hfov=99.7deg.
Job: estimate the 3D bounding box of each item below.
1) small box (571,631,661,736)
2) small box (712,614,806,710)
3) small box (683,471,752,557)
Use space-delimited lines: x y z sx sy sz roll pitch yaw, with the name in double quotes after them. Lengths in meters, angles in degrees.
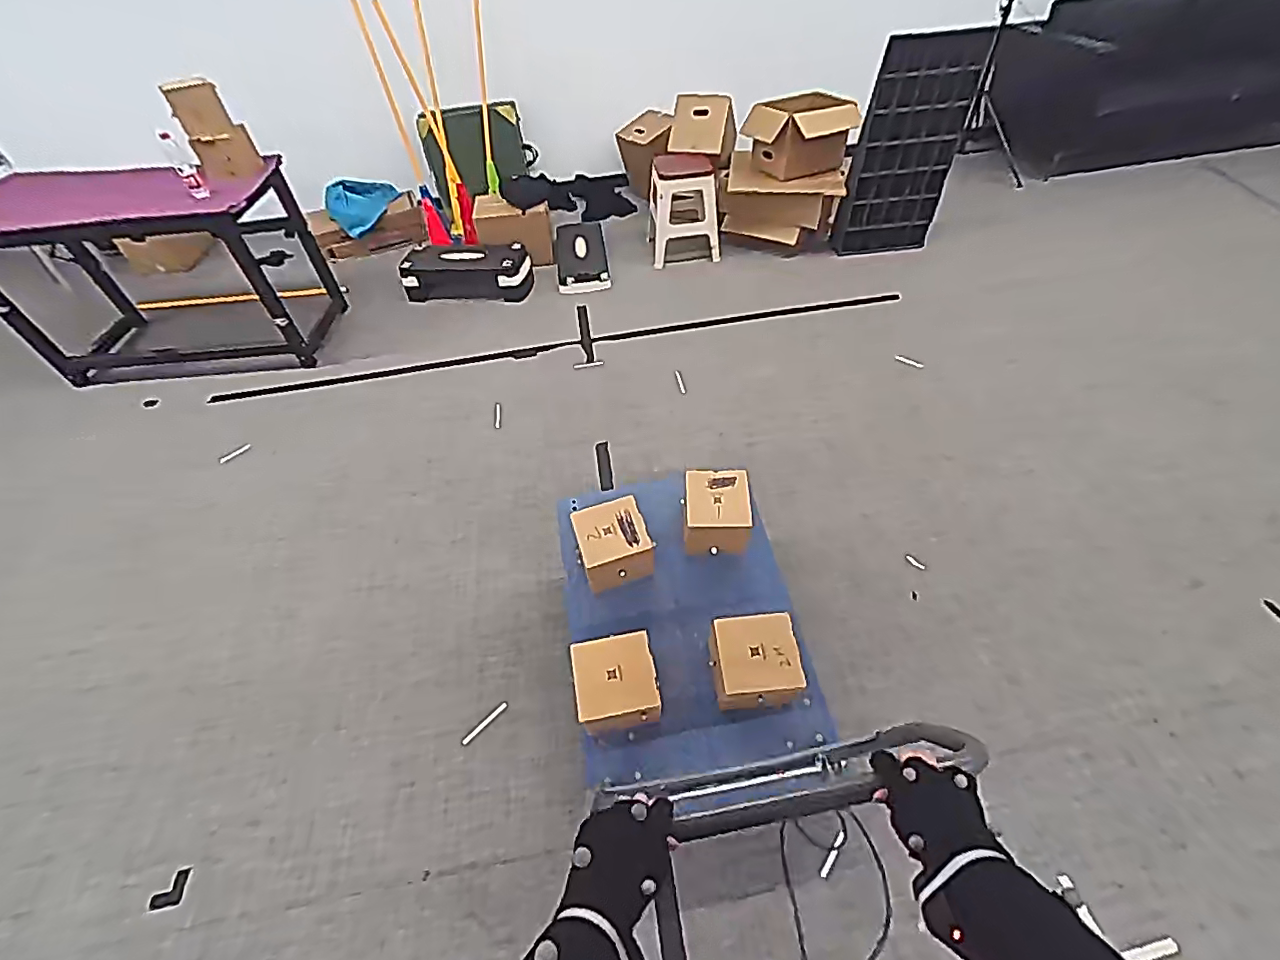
-0.052 0.466 1.227 0.179 0.176 0.168 -10 55 -6 "small box"
0.262 0.422 1.243 0.179 0.176 0.168 -5 56 -1 "small box"
0.205 0.094 1.472 0.168 0.176 0.179 0 56 2 "small box"
